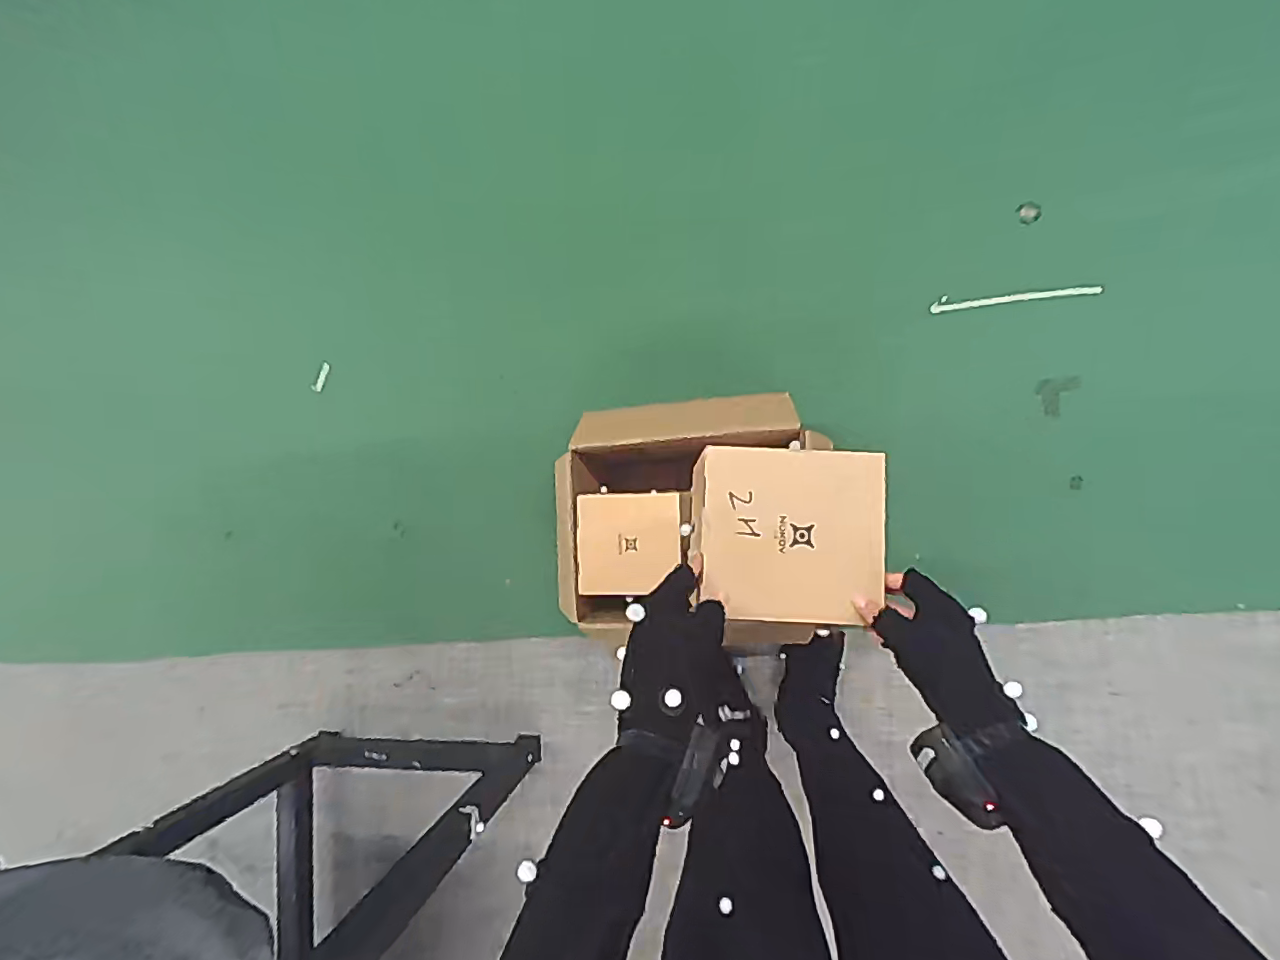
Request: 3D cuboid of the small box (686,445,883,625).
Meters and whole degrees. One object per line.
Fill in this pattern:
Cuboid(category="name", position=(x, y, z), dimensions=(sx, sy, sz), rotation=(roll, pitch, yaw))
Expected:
Cuboid(category="small box", position=(0.146, 0.059, 0.596), dimensions=(0.179, 0.176, 0.168), rotation=(3, 84, 2))
